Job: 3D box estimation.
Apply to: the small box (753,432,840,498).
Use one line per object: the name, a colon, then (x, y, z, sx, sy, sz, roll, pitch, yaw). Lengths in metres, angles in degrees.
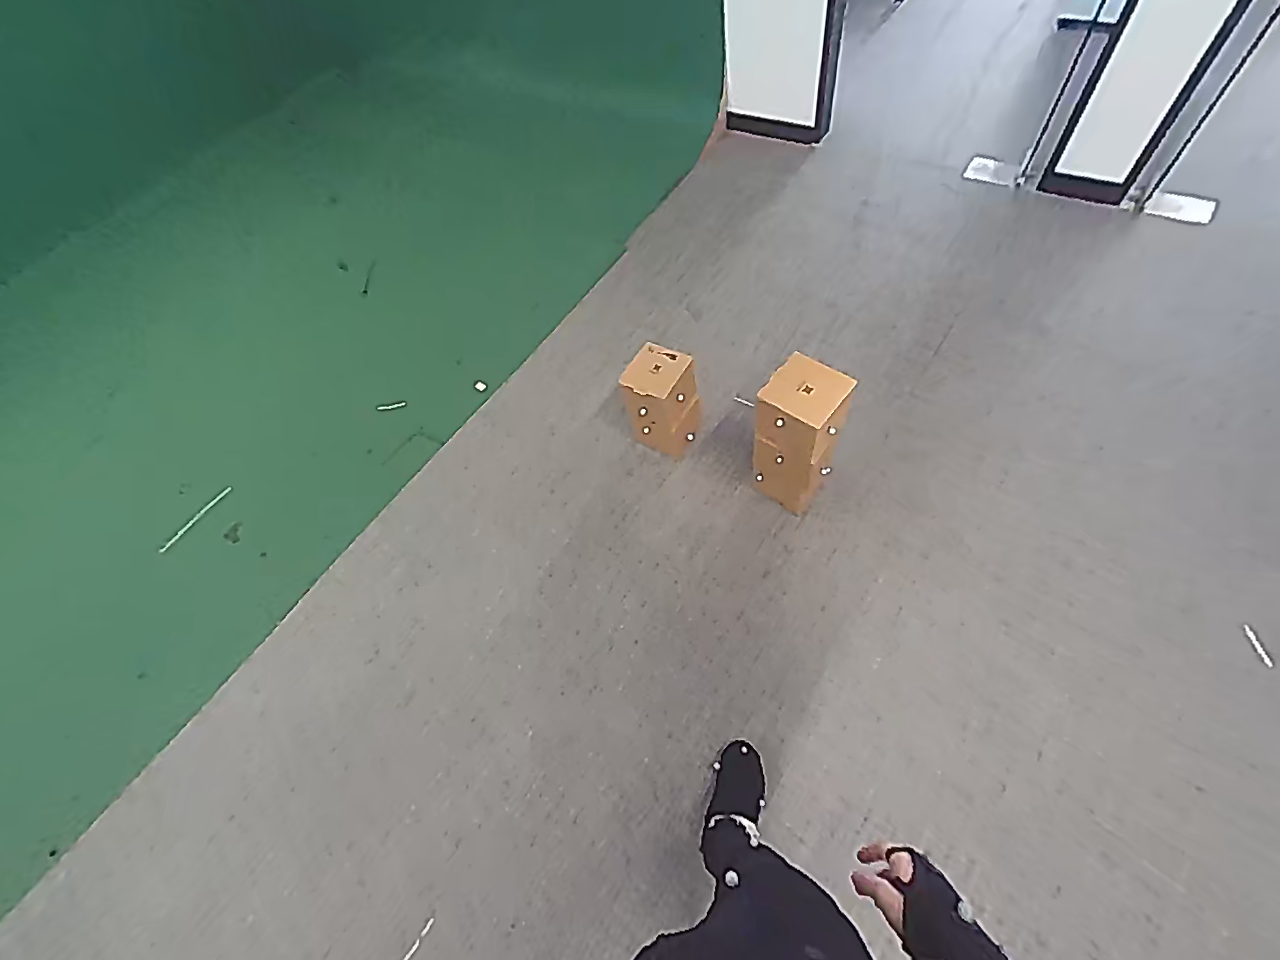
small box: (0.426, -0.078, 1.497, 0.179, 0.176, 0.168, 30, 70, 23)

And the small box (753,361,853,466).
small box: (0.403, -0.158, 1.359, 0.179, 0.176, 0.168, 35, 72, 25)

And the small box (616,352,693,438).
small box: (0.054, -0.259, 1.674, 0.168, 0.176, 0.179, 25, 68, 22)

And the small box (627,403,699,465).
small box: (0.082, -0.176, 1.812, 0.179, 0.176, 0.168, 28, 69, 23)
